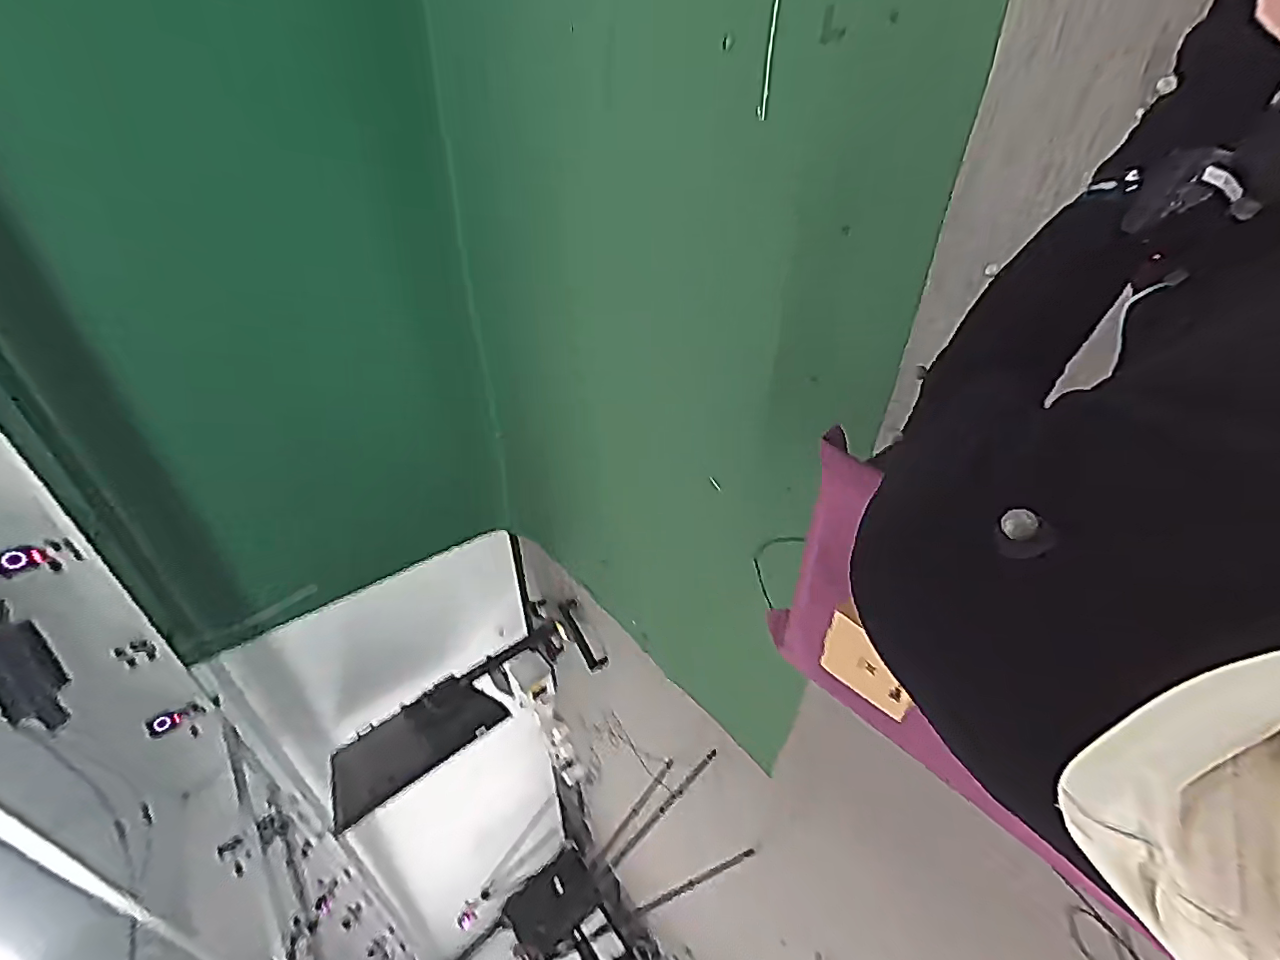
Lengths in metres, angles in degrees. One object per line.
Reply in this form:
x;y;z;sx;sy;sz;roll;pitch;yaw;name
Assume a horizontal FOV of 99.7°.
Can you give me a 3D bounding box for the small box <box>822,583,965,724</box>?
0.494;0.327;1.065;0.179;0.176;0.168;33;136;39;small box
